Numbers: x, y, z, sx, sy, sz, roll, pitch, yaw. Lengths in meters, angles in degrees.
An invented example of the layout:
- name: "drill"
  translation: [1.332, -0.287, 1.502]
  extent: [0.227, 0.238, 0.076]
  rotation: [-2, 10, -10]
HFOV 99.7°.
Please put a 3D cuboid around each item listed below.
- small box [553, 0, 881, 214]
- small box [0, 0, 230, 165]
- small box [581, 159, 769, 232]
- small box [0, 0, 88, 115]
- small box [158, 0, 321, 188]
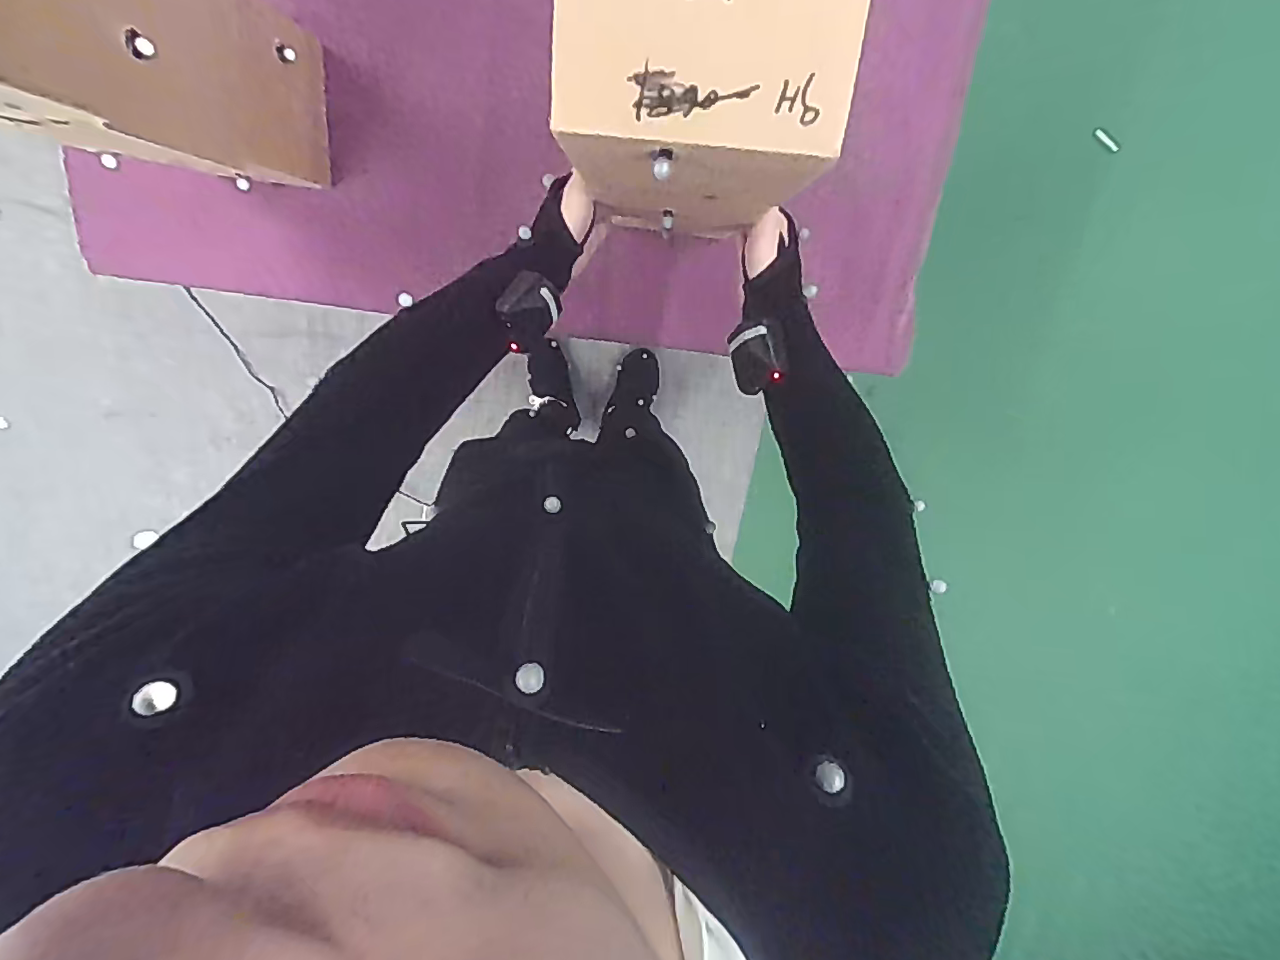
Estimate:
- name: "small box"
  translation: [0.044, -0.287, 0.345]
  extent: [0.168, 0.176, 0.179]
  rotation: [6, 108, 0]
- name: "small box"
  translation: [-0.514, -0.407, 0.490]
  extent: [0.168, 0.176, 0.179]
  rotation: [7, 108, -1]
- name: "small box"
  translation: [0.045, -0.339, 0.501]
  extent: [0.168, 0.176, 0.179]
  rotation: [8, 108, -1]
- name: "small box"
  translation: [-0.513, -0.355, 0.337]
  extent: [0.168, 0.176, 0.179]
  rotation: [5, 108, 0]
- name: "small box"
  translation: [-0.508, -0.468, 0.642]
  extent: [0.168, 0.176, 0.179]
  rotation: [7, 109, -1]
